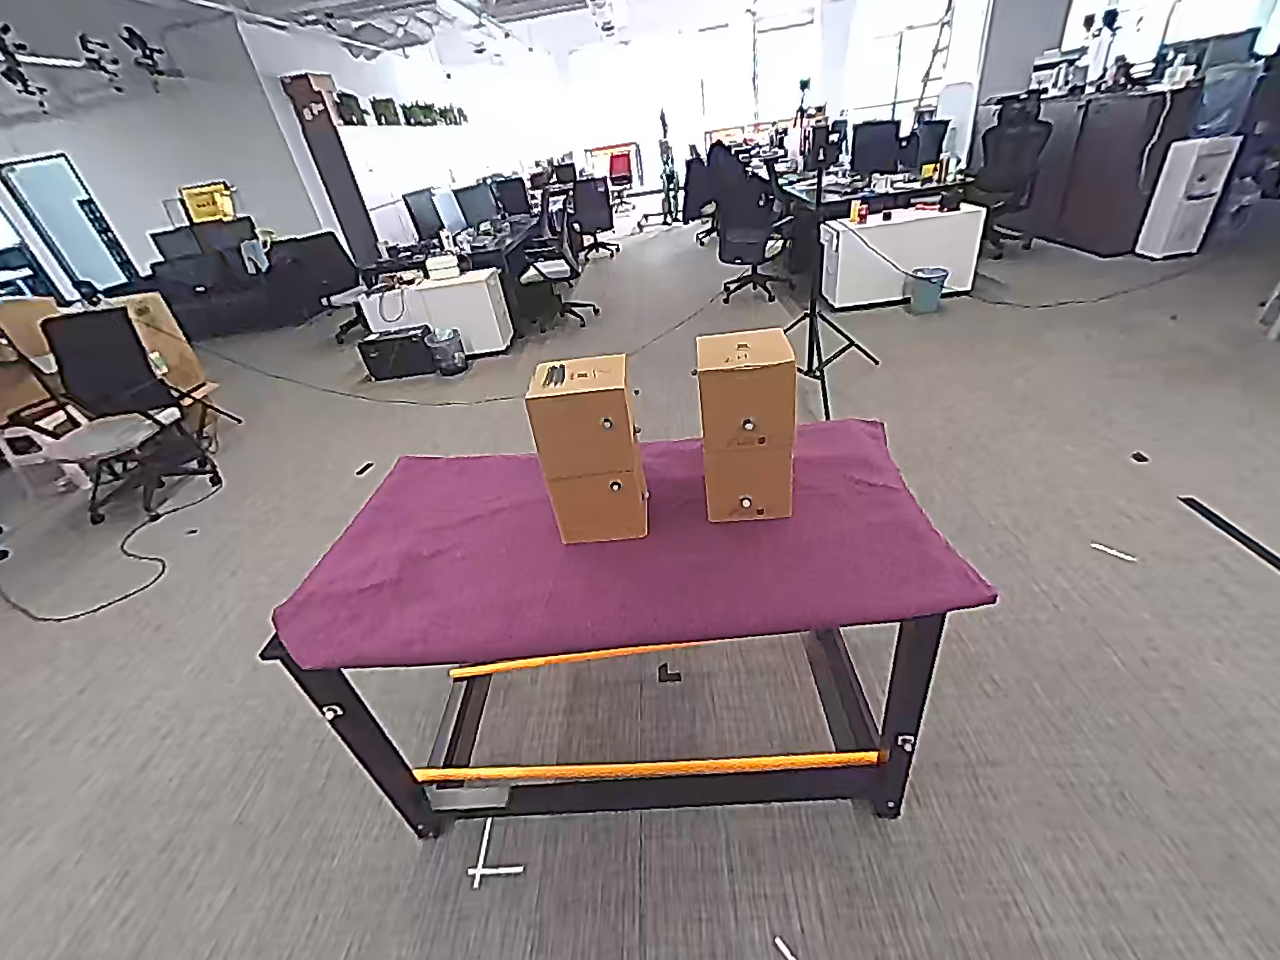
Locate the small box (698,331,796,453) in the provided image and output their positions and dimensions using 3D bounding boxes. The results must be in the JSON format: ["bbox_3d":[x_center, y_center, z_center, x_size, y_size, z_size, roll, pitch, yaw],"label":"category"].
[{"bbox_3d":[0.198,-0.168,1.025,0.168,0.176,0.179,-5,33,8],"label":"small box"}]

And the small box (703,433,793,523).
[{"bbox_3d":[0.217,-0.031,1.115,0.168,0.176,0.179,-4,34,8],"label":"small box"}]

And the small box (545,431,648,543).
[{"bbox_3d":[-0.082,0.016,1.121,0.179,0.176,0.168,-6,33,4],"label":"small box"}]
